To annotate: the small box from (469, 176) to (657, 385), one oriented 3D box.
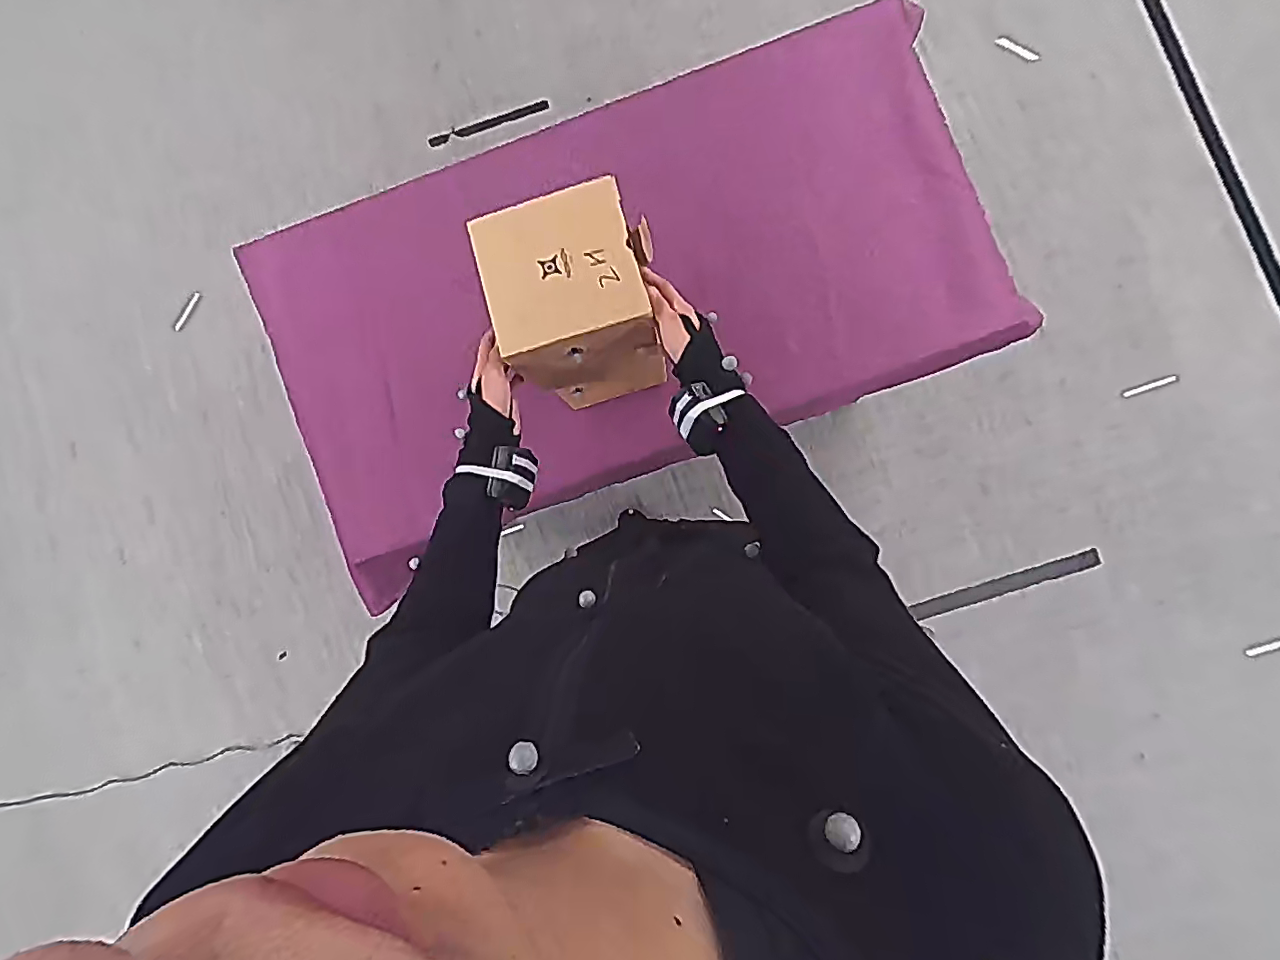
[{"bbox_3d":[-0.083,-0.231,0.674,0.179,0.176,0.168,-15,86,3],"label":"small box"}]
